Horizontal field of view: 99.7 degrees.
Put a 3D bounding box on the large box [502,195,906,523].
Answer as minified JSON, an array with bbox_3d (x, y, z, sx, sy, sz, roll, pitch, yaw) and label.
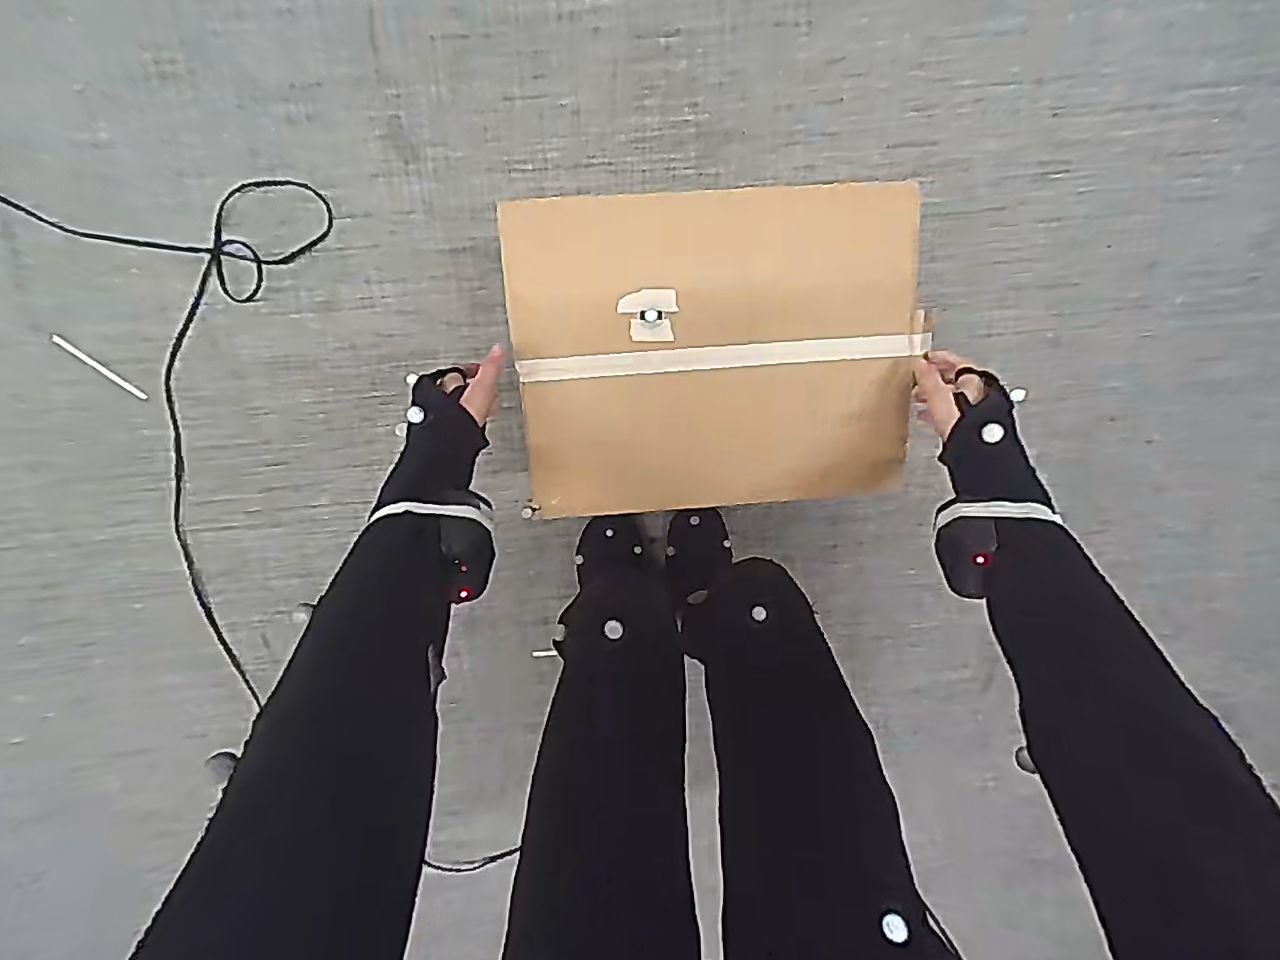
[{"bbox_3d":[0.069,-0.153,0.704,0.408,0.320,0.320,-4,104,-1],"label":"large box"}]
